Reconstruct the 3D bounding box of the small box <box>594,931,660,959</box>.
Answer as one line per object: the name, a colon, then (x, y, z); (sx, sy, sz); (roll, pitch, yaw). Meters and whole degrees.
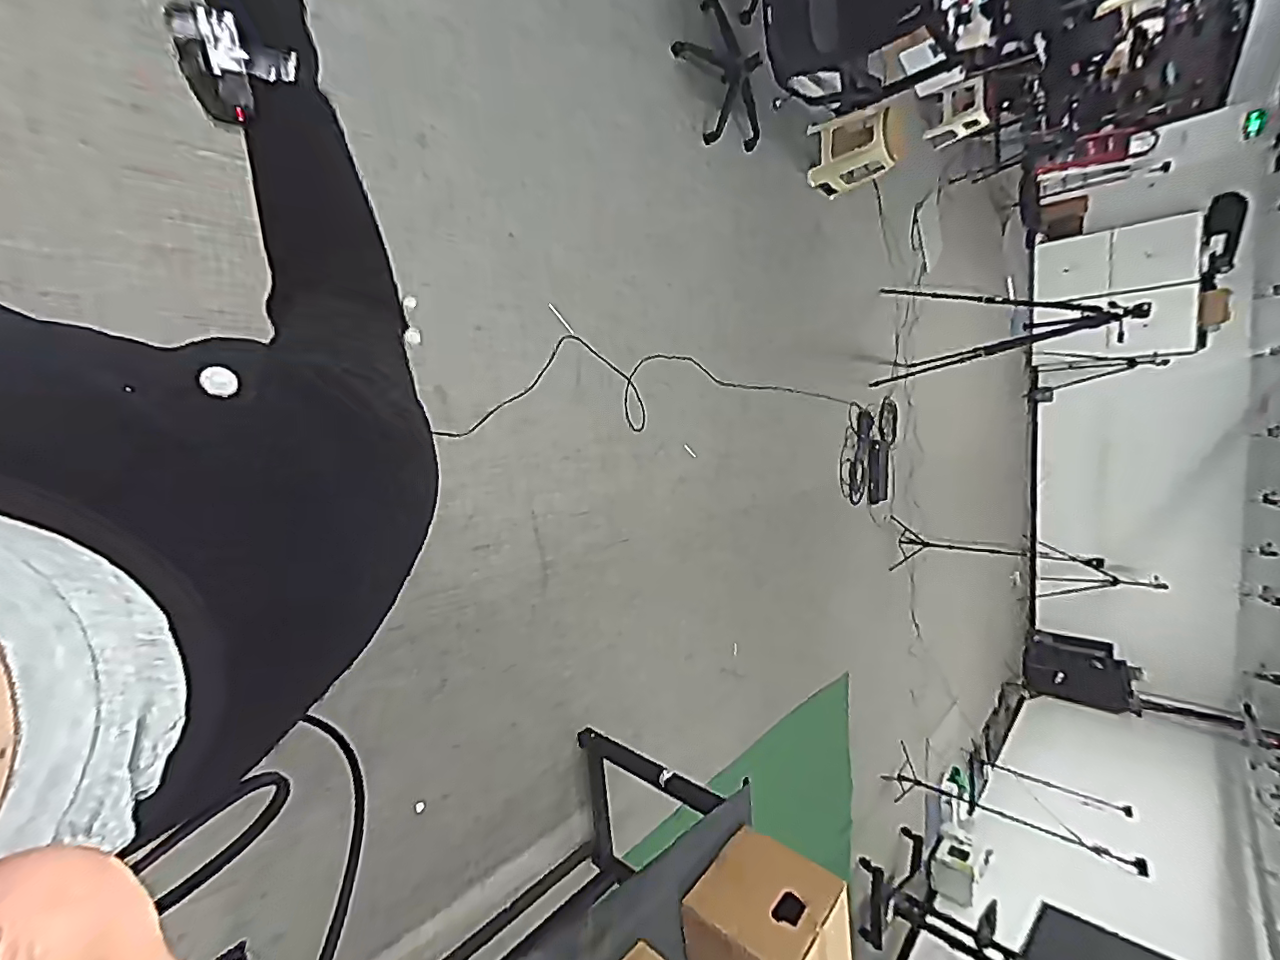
small box: (-0.023, 1.201, 1.233); (0.168, 0.176, 0.179); (-8, 99, -46)
